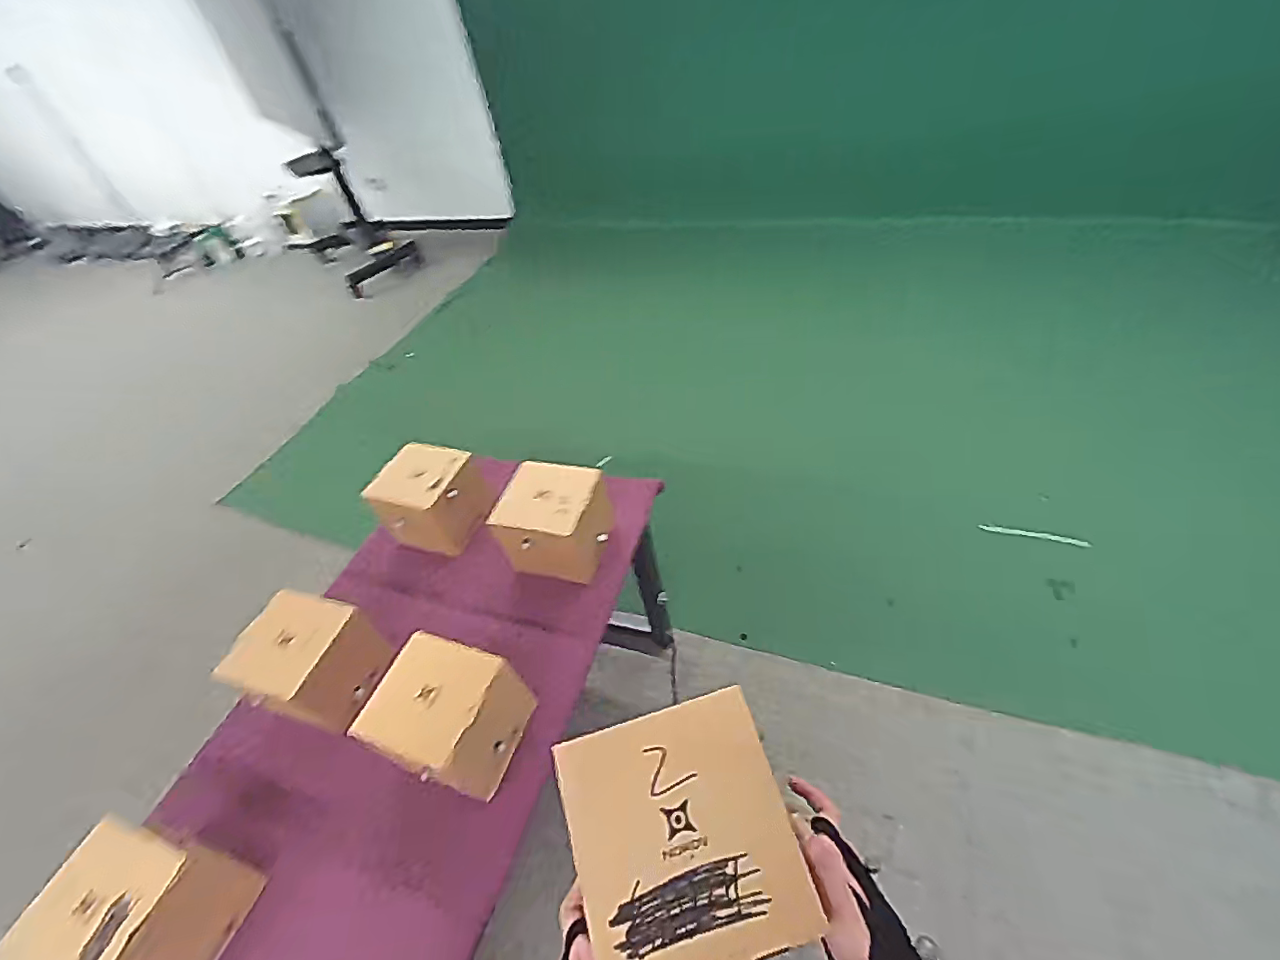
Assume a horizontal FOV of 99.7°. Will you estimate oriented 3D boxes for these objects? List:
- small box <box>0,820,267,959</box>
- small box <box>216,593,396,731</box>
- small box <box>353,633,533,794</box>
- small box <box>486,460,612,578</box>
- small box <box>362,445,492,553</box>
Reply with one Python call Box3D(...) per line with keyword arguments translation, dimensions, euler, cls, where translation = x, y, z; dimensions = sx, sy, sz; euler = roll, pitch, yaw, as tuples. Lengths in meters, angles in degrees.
Box3D(translation=(-0.670, 0.597, 0.739), dimensions=(0.179, 0.176, 0.168), euler=(7, 49, 19), cls="small box")
Box3D(translation=(-0.585, 0.329, 0.972), dimensions=(0.179, 0.176, 0.168), euler=(8, 51, 18), cls="small box")
Box3D(translation=(-0.301, 0.374, 0.864), dimensions=(0.179, 0.176, 0.168), euler=(8, 50, 21), cls="small box")
Box3D(translation=(-0.176, 0.081, 1.102), dimensions=(0.179, 0.176, 0.168), euler=(7, 51, 18), cls="small box")
Box3D(translation=(-0.465, 0.044, 1.207), dimensions=(0.179, 0.176, 0.168), euler=(8, 51, 20), cls="small box")
